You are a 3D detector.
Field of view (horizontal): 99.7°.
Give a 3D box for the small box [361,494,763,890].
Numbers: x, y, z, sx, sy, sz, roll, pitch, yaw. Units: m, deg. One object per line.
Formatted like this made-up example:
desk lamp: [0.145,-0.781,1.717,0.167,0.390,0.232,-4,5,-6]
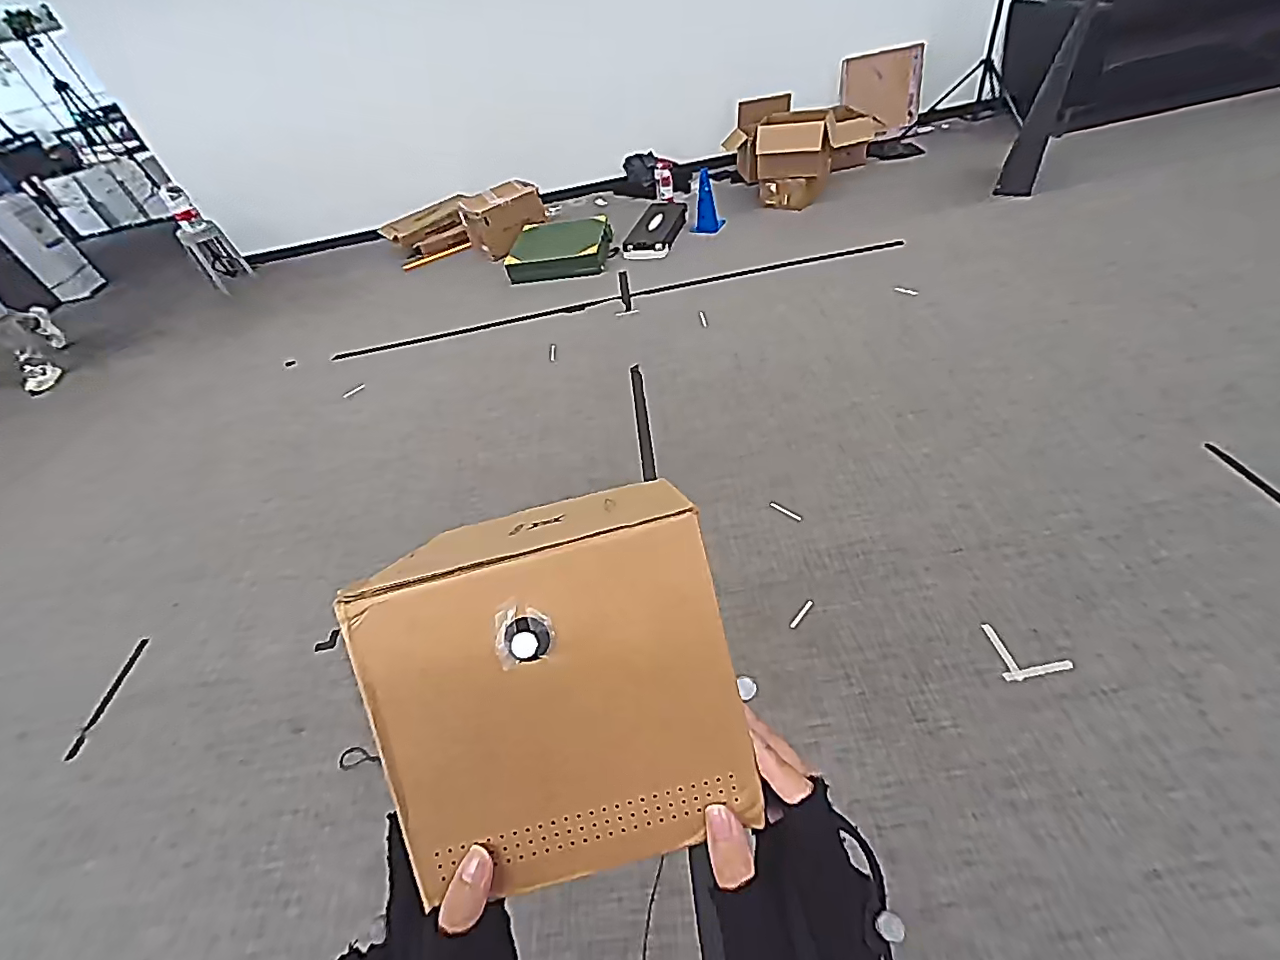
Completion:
small box: [-0.038,0.117,0.352,0.179,0.176,0.168,-14,5,-1]
